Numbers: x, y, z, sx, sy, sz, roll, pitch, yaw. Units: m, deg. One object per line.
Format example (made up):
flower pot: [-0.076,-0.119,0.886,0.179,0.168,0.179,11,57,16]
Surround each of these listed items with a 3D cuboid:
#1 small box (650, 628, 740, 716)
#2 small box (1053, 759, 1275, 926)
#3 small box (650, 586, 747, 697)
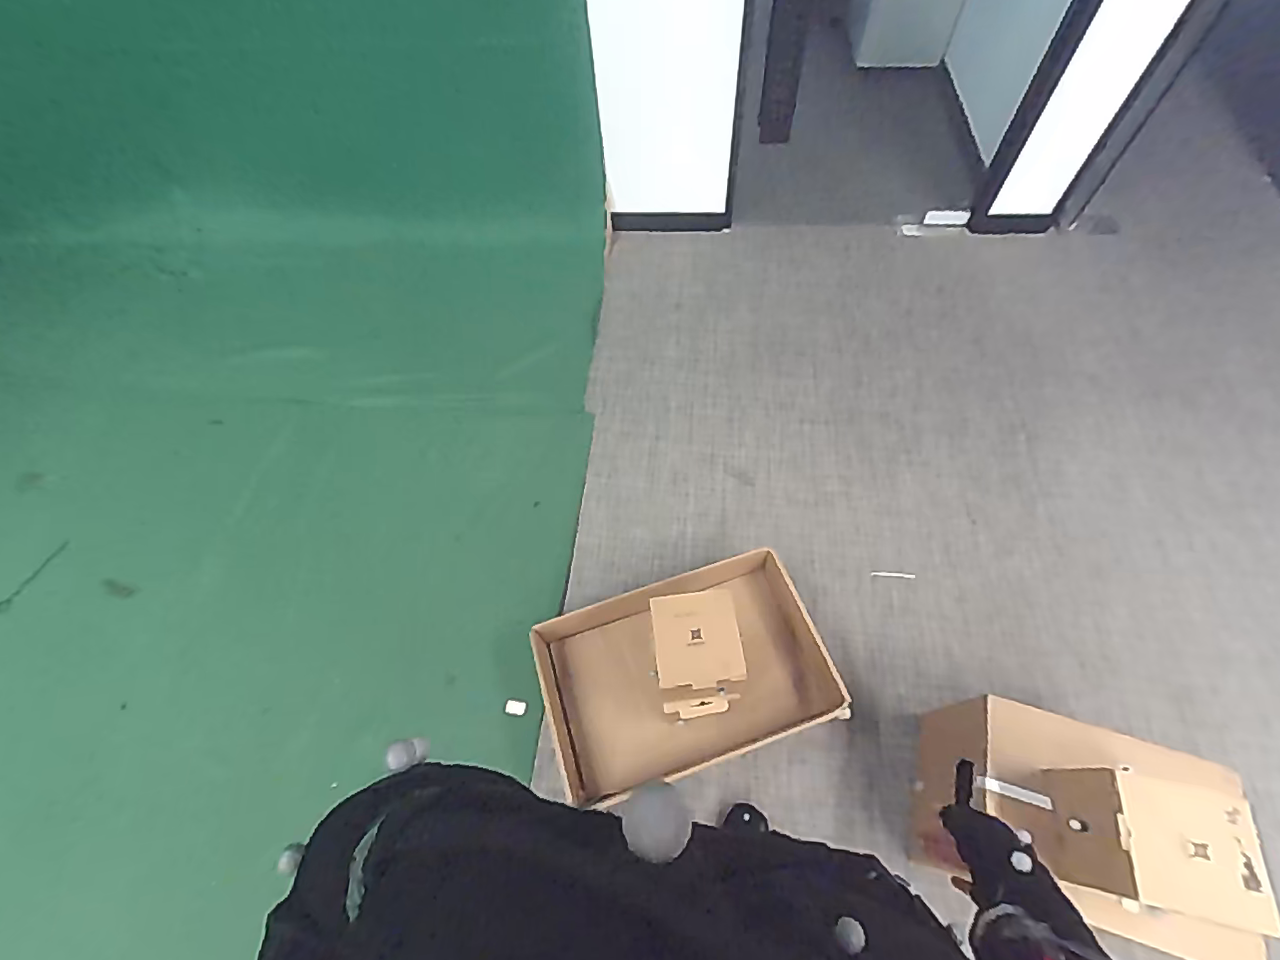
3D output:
small box: [0.125,0.430,1.237,0.168,0.176,0.179,-12,59,-1]
small box: [0.772,0.542,0.828,0.179,0.176,0.168,9,62,9]
small box: [0.115,0.337,1.104,0.168,0.176,0.179,-8,58,0]
